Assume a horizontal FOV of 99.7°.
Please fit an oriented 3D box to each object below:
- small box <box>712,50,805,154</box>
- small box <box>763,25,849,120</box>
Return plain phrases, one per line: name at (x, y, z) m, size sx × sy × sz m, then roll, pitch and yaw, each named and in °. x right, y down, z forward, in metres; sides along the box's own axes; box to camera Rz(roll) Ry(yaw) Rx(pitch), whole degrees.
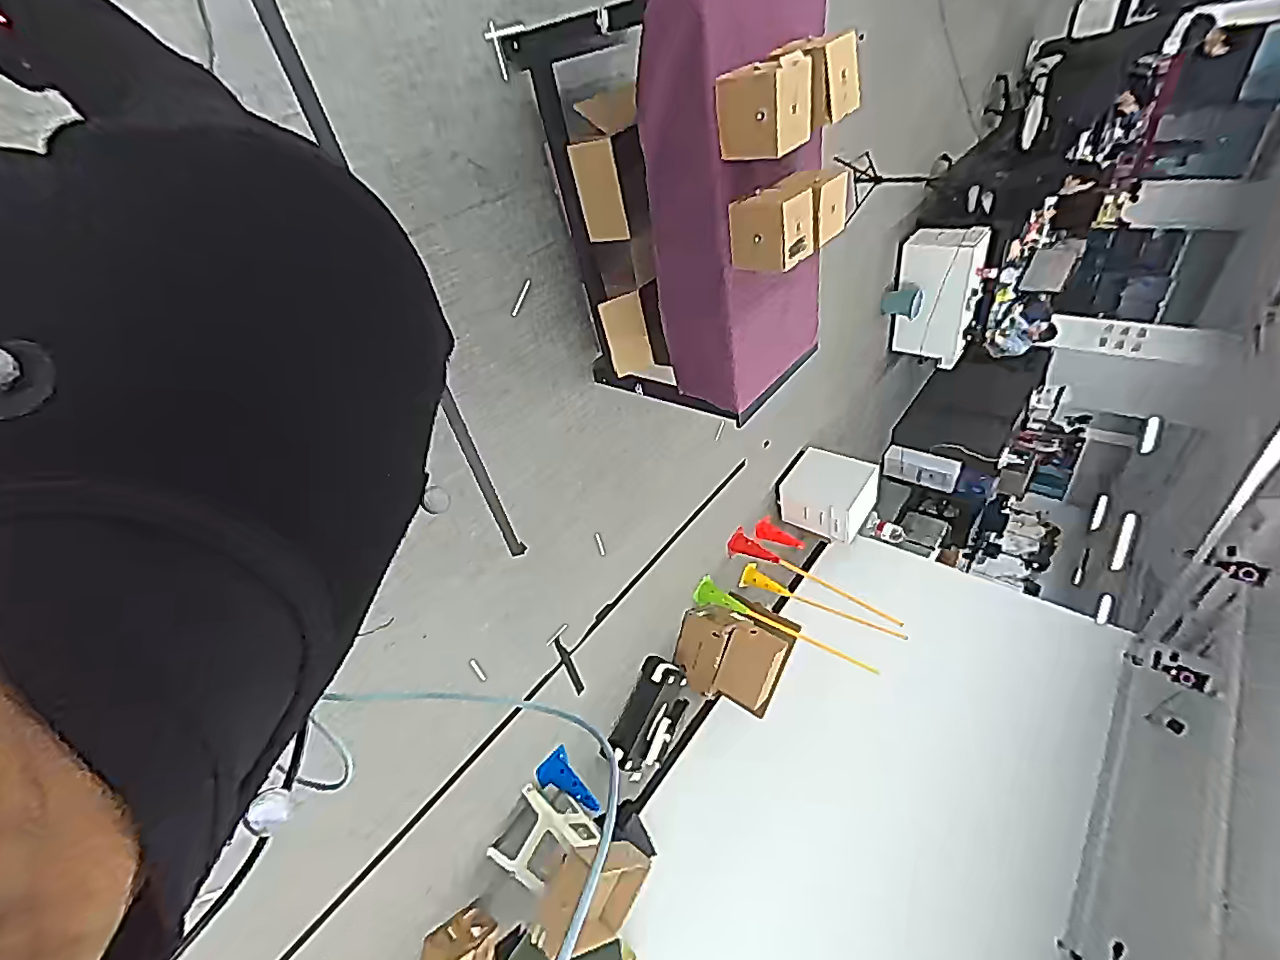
small box at (0.291, -0.922, 1.329) m, size 0.168 × 0.176 × 0.179 m, roll -44°, pitch 138°, yaw -30°
small box at (0.439, -1.076, 1.443) m, size 0.168 × 0.176 × 0.179 m, roll -45°, pitch 139°, yaw -28°
